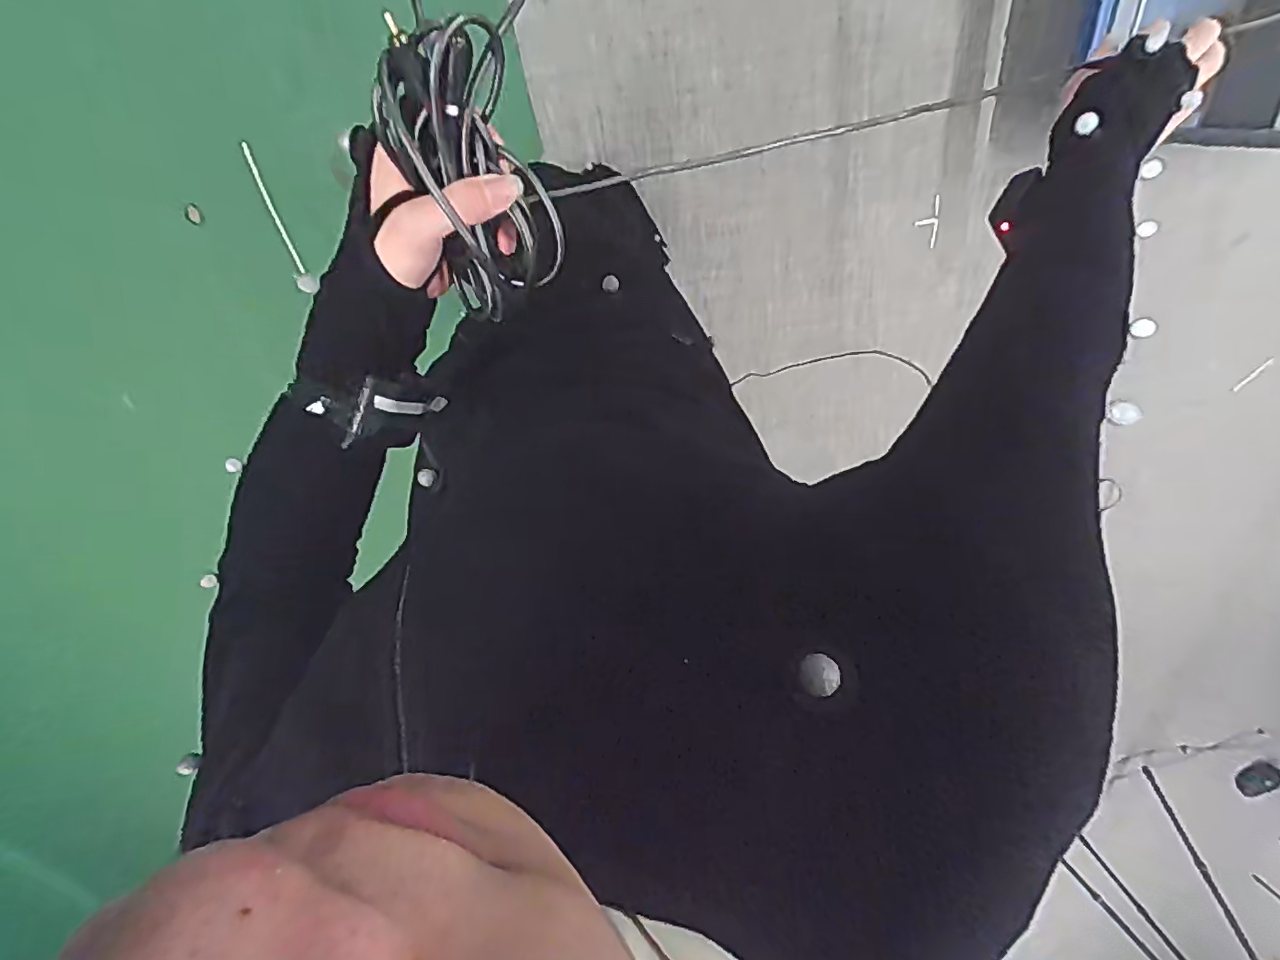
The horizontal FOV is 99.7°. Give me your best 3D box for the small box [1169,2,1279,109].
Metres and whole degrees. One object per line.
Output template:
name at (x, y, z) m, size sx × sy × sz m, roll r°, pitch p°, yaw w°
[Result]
small box at (1.269, -0.870, 1.107) m, size 0.179 × 0.176 × 0.168 m, roll -8°, pitch 123°, yaw -1°
